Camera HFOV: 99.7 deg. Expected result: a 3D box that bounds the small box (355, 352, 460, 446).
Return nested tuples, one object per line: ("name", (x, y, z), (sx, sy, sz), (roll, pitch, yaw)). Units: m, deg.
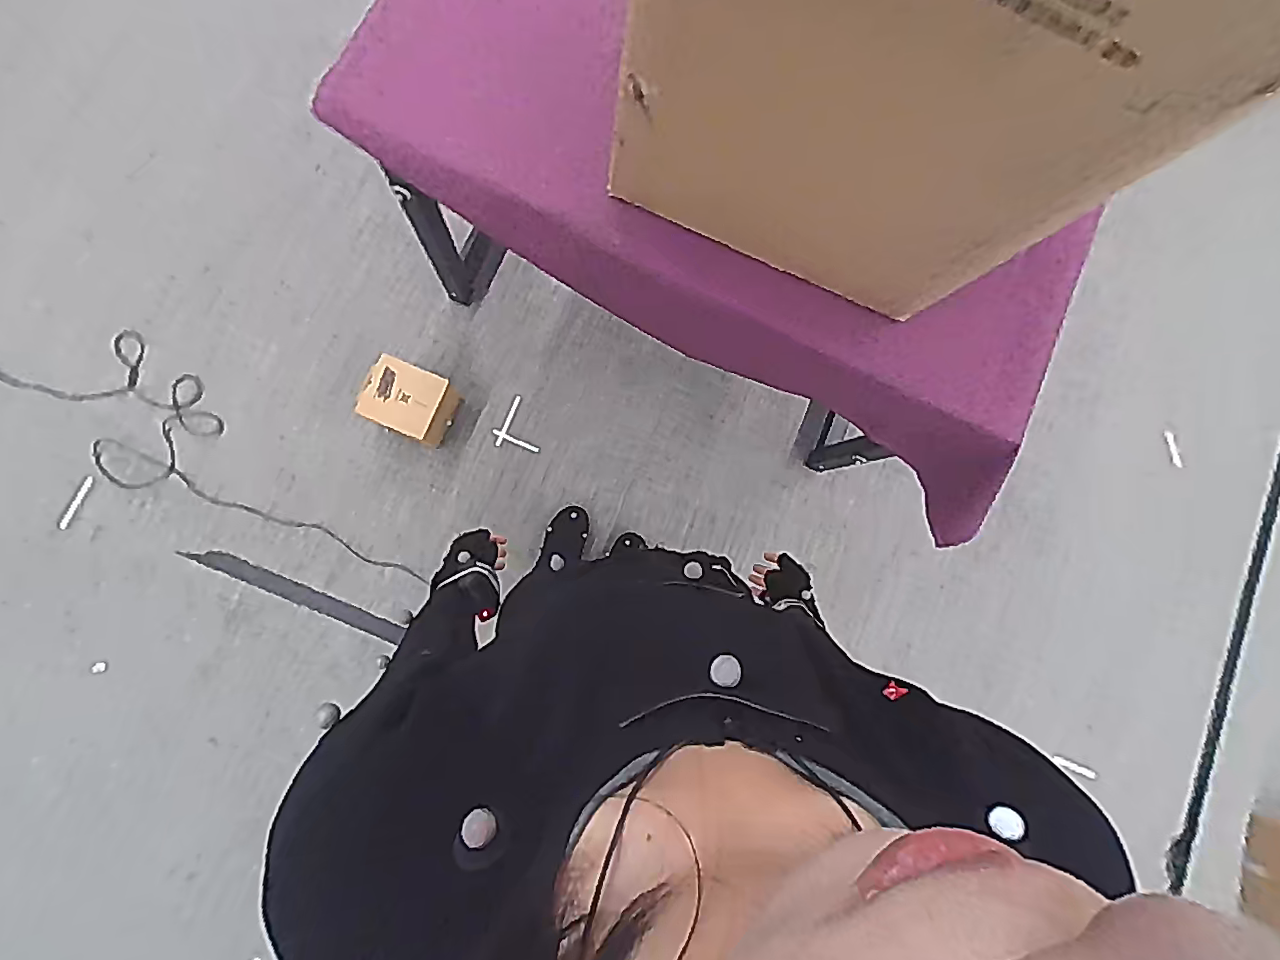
("small box", (-0.589, -0.199, 1.393), (0.179, 0.176, 0.168), (23, 83, -6))
